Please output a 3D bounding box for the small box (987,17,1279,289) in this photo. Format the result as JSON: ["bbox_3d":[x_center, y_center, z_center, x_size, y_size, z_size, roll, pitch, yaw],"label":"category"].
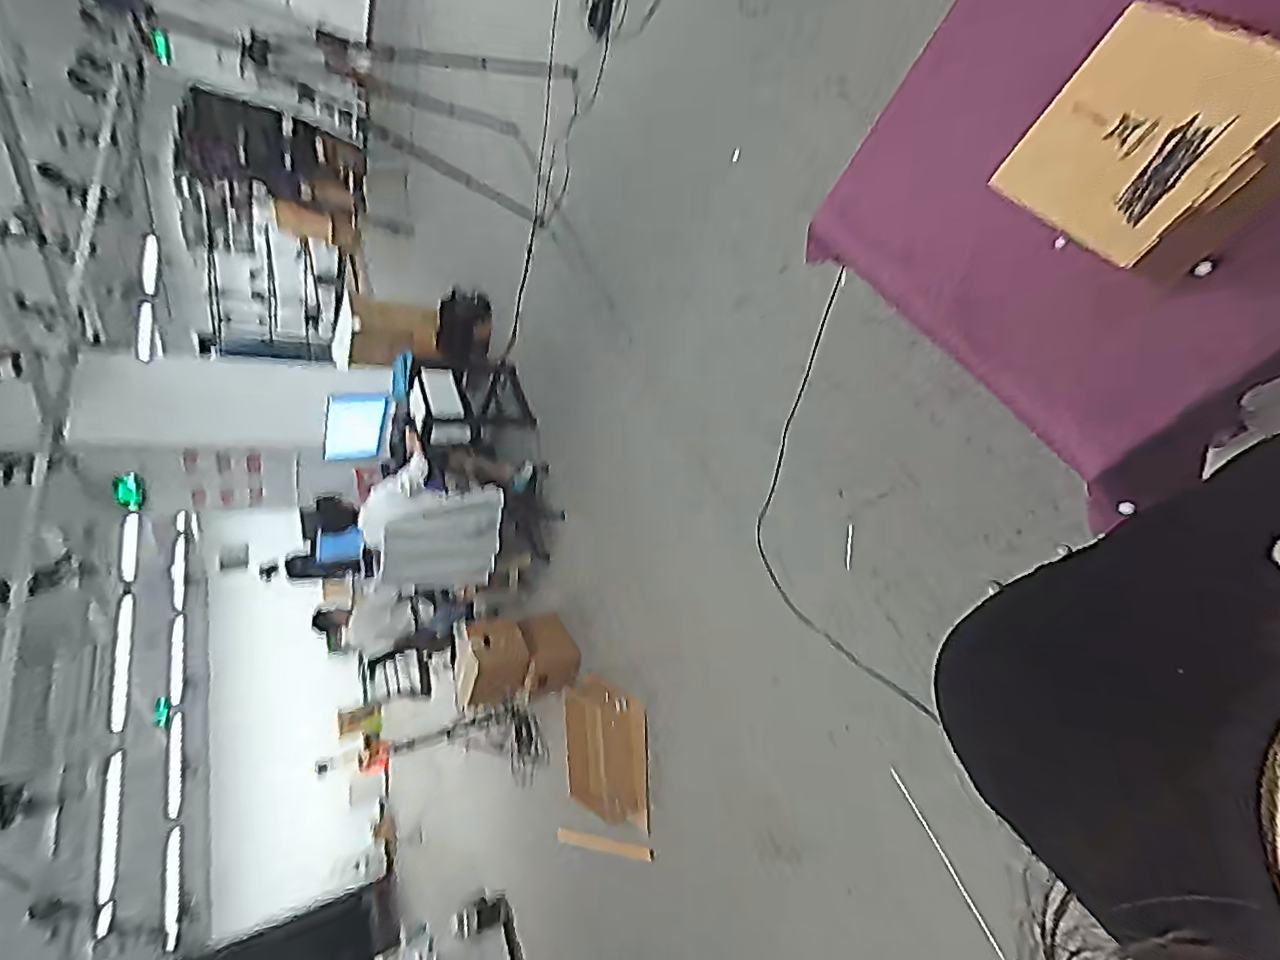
[{"bbox_3d":[0.516,-0.314,0.549,0.168,0.176,0.179,-58,47,39],"label":"small box"}]
